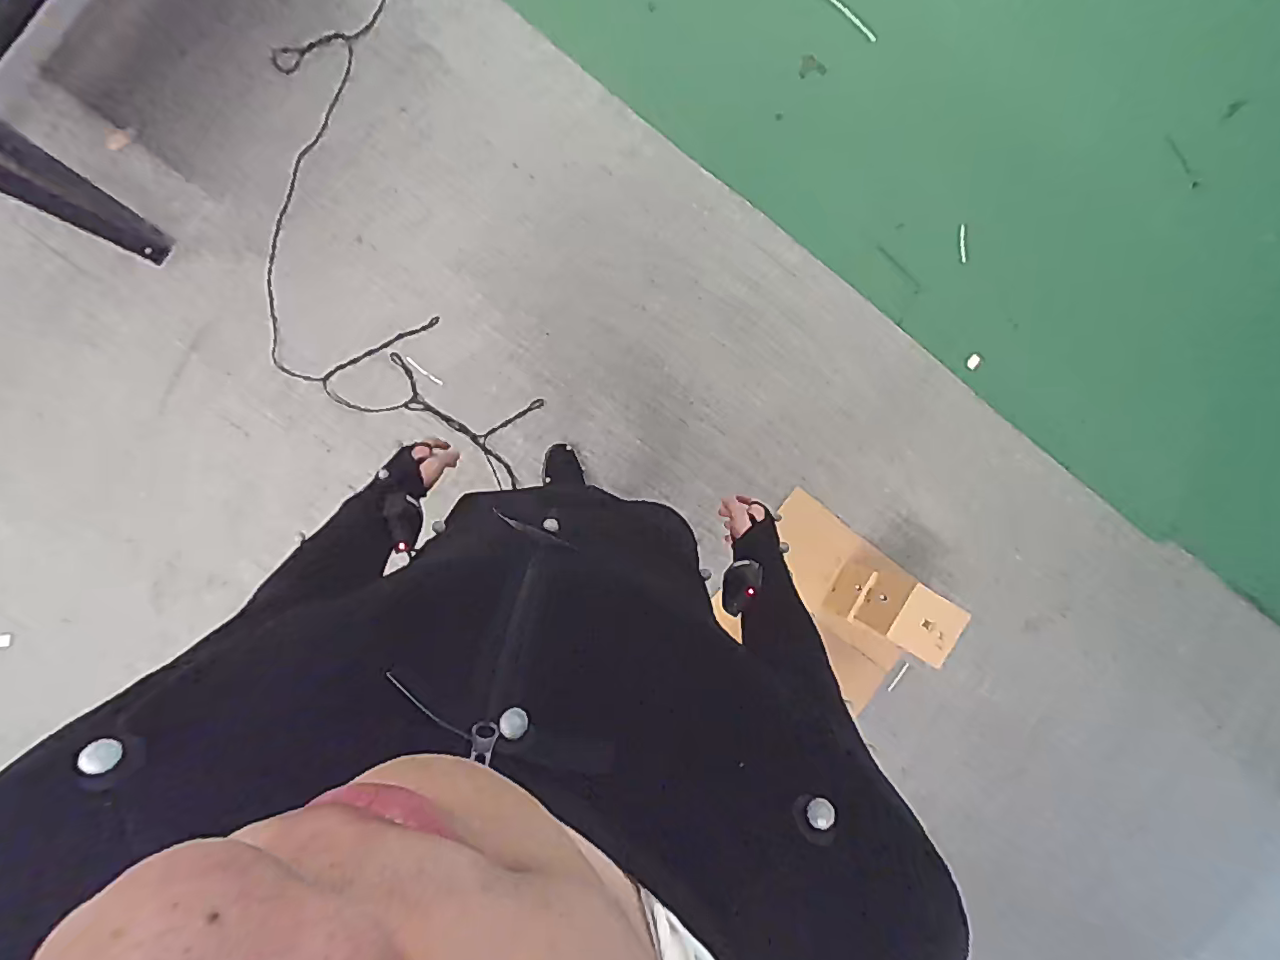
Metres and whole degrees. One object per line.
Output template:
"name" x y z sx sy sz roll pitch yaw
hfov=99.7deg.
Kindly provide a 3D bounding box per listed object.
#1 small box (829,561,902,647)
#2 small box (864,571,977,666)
"small box" 0.703 0.359 1.609 0.179 0.176 0.168 31 90 -5
"small box" 0.739 0.360 1.447 0.179 0.176 0.168 32 91 -6
